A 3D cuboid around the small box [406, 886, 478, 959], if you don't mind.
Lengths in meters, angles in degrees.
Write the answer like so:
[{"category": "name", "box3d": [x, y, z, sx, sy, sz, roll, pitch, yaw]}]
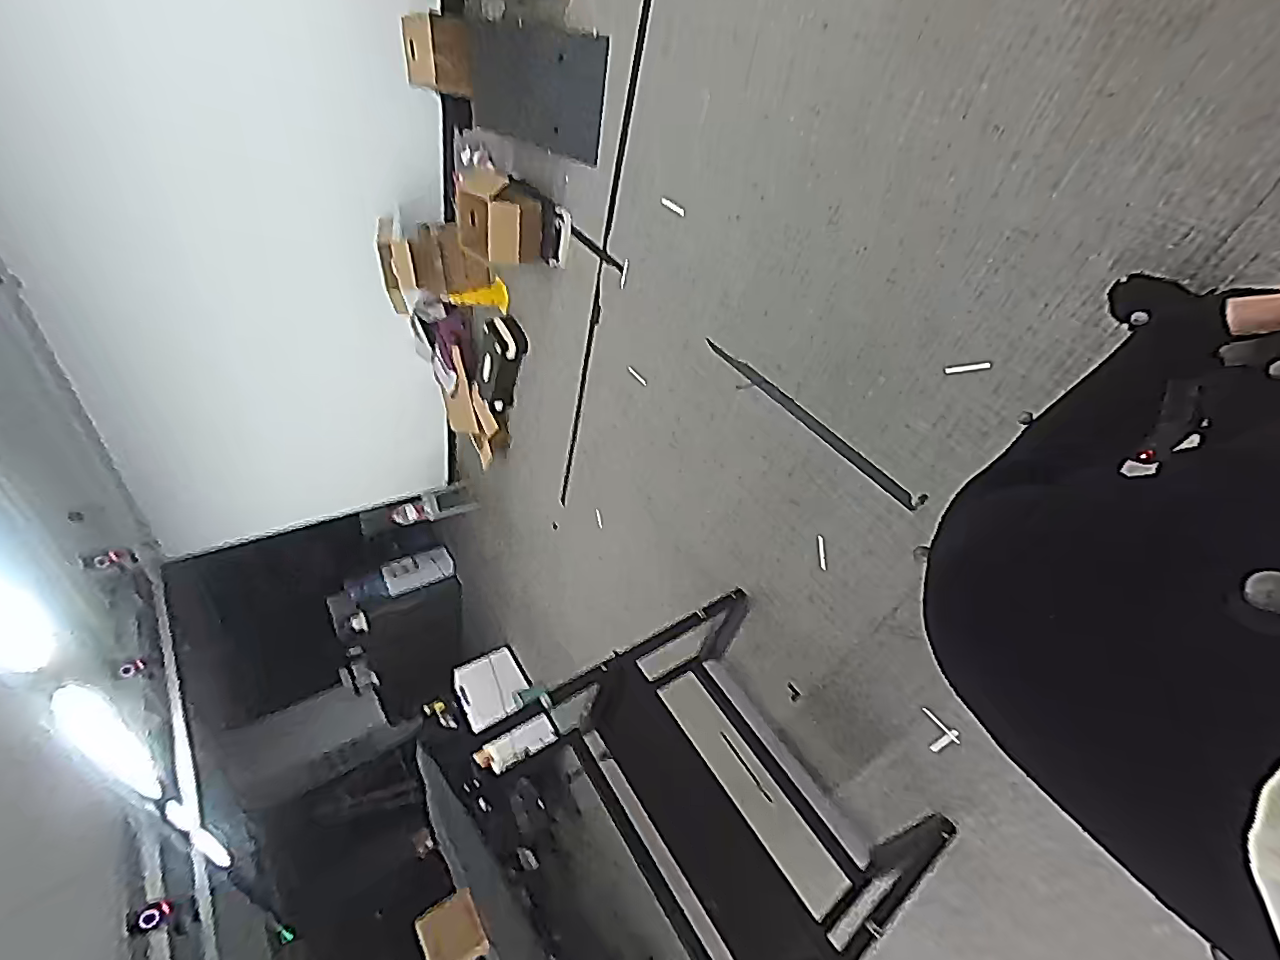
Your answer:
[{"category": "small box", "box3d": [-0.624, 1.441, 1.715, 0.168, 0.176, 0.179, 48, 139, 31]}]
